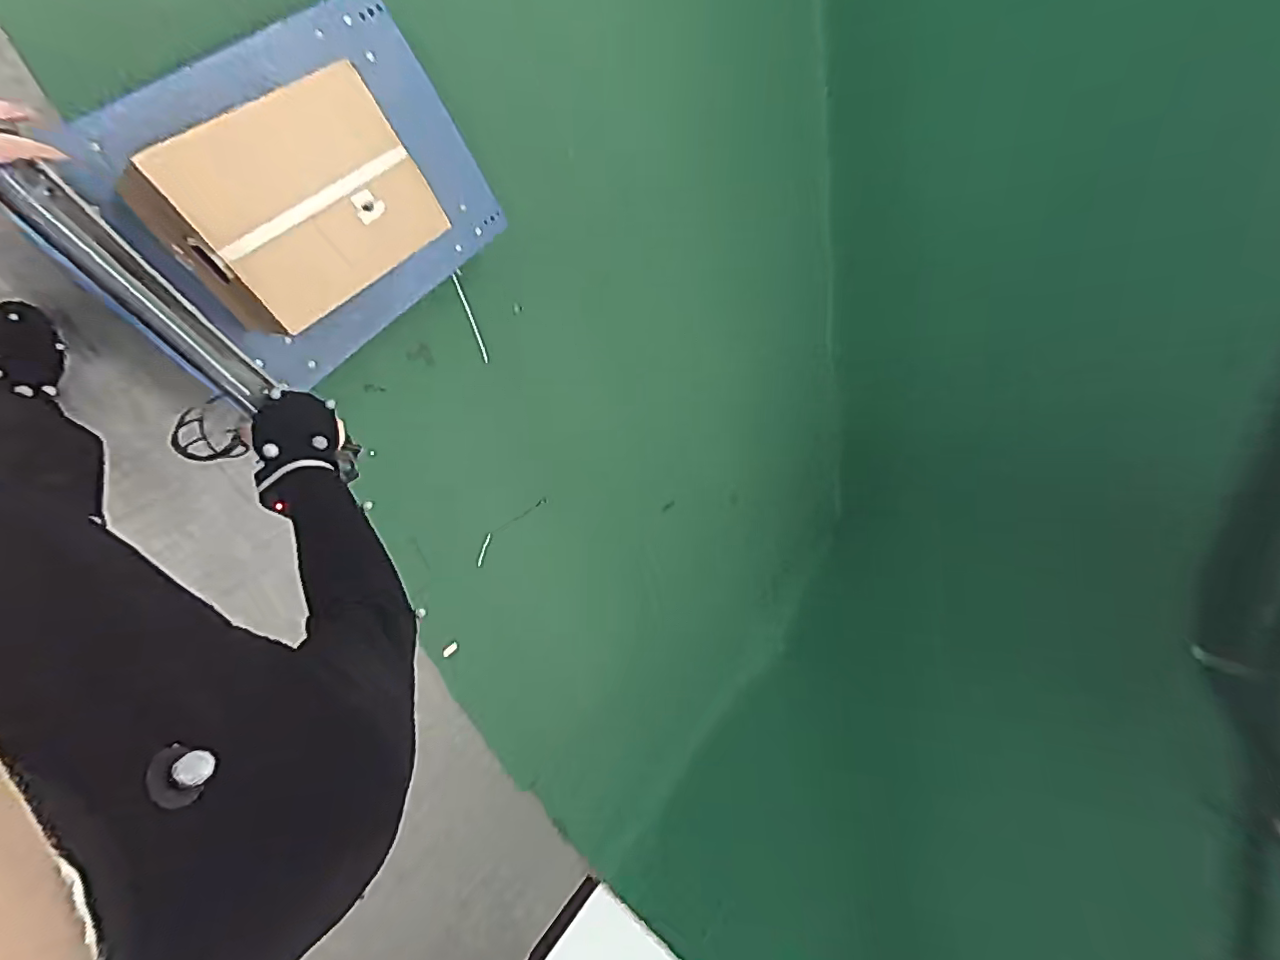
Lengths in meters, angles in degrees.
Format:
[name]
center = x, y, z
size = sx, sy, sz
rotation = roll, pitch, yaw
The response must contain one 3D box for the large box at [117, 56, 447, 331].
[large box]
center = -0.684, -0.536, 1.063
size = 0.408, 0.320, 0.320
rotation = -51, 134, -25
